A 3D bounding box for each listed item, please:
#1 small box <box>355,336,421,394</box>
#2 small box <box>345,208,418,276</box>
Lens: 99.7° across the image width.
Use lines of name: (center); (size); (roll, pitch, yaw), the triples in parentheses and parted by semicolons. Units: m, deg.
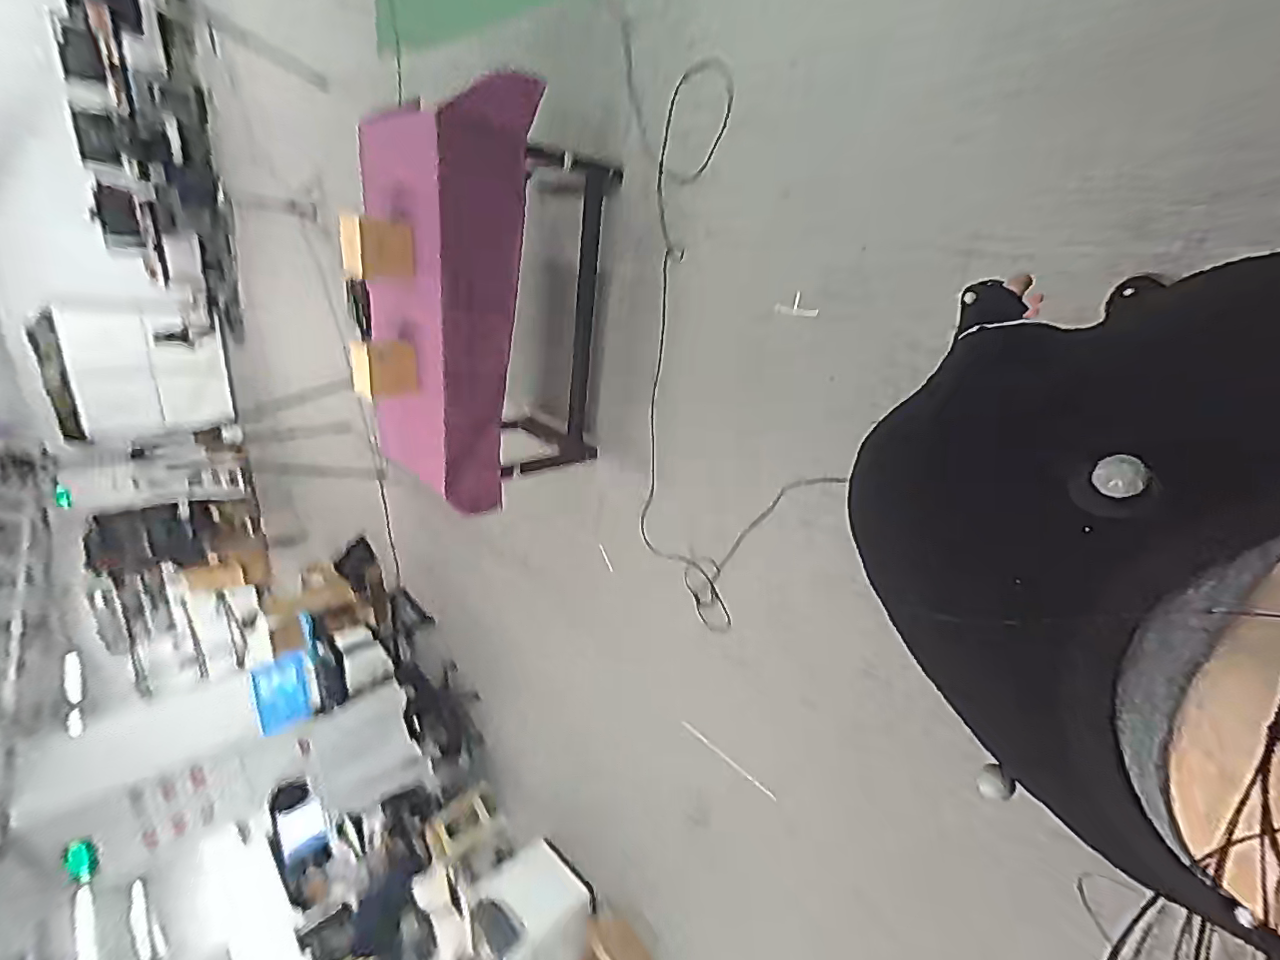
small box: (-0.889, -0.411, 1.918); (0.168, 0.176, 0.179); (22, 115, 41)
small box: (-0.840, -0.773, 1.765); (0.168, 0.176, 0.179); (29, 120, 38)
